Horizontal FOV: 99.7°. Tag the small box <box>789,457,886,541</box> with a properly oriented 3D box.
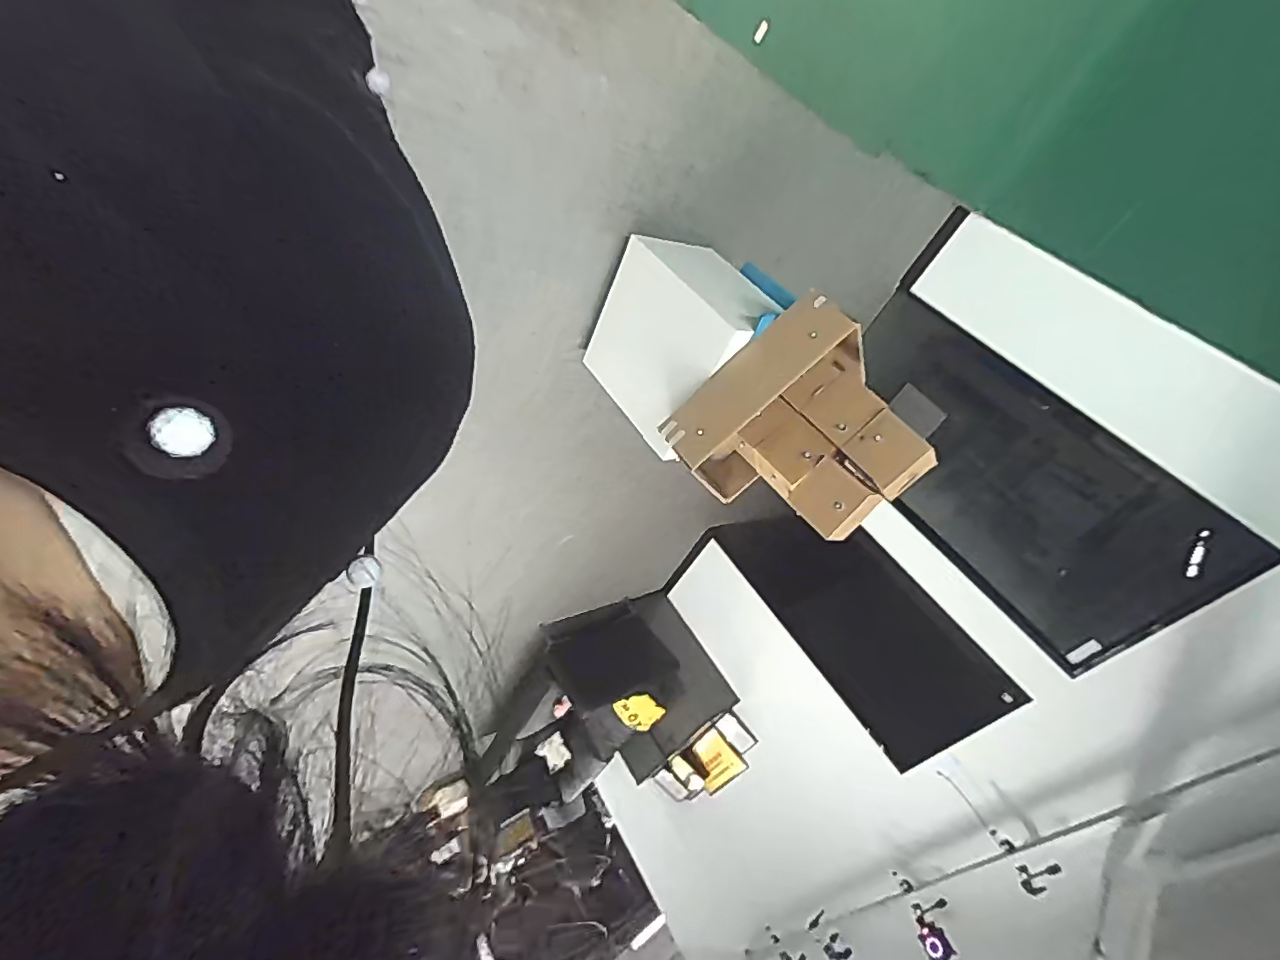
[{"bbox_3d":[0.560,0.055,1.541,0.179,0.176,0.168,-52,149,18],"label":"small box"}]
